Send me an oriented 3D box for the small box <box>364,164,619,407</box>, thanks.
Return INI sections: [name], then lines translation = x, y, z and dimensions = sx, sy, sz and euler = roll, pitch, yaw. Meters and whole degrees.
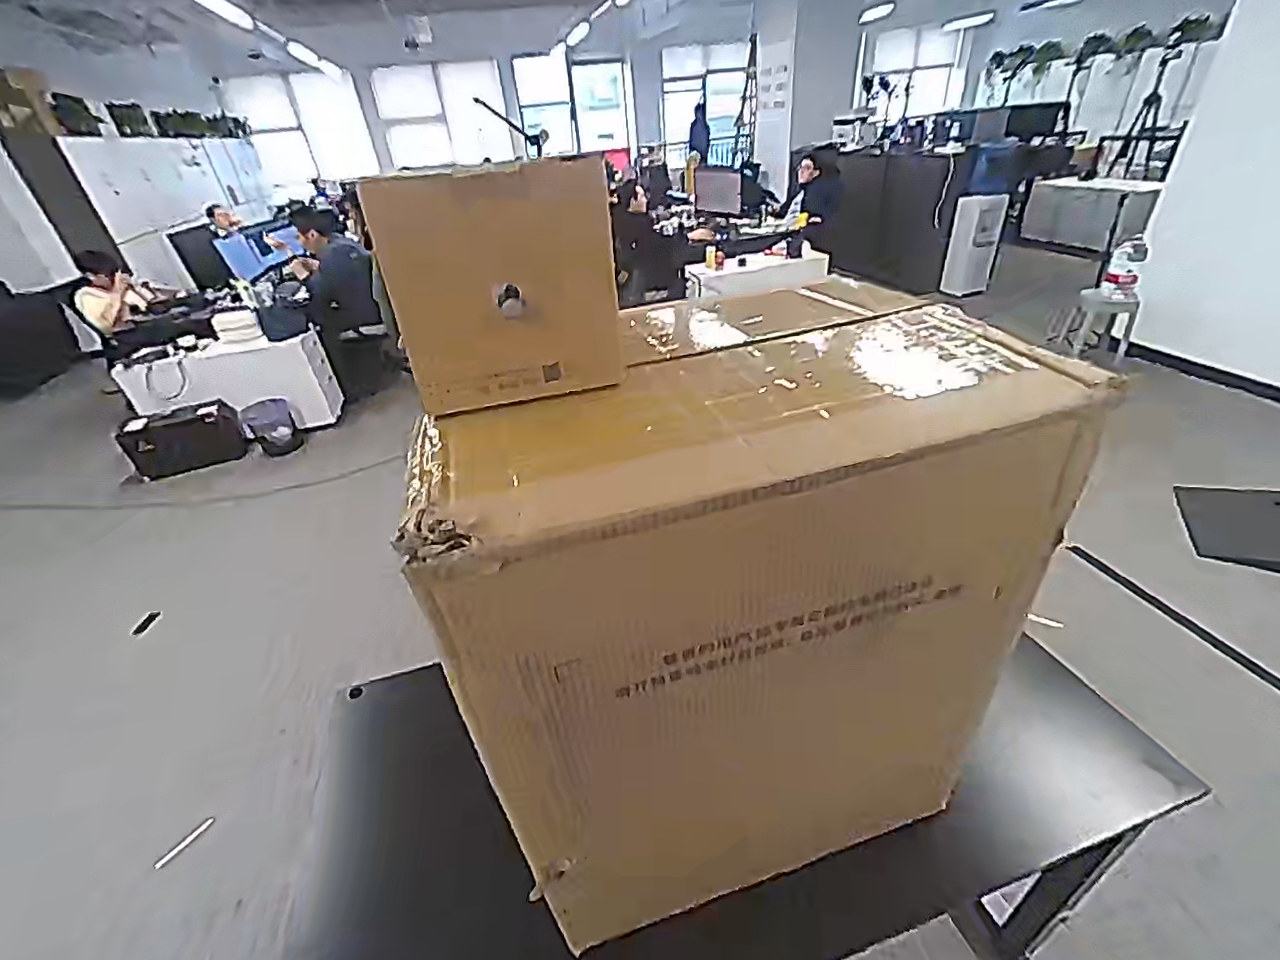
[small box]
translation = -0.120, -0.173, 0.481
dimensions = 0.168, 0.176, 0.179
euler = -12, 32, -12
